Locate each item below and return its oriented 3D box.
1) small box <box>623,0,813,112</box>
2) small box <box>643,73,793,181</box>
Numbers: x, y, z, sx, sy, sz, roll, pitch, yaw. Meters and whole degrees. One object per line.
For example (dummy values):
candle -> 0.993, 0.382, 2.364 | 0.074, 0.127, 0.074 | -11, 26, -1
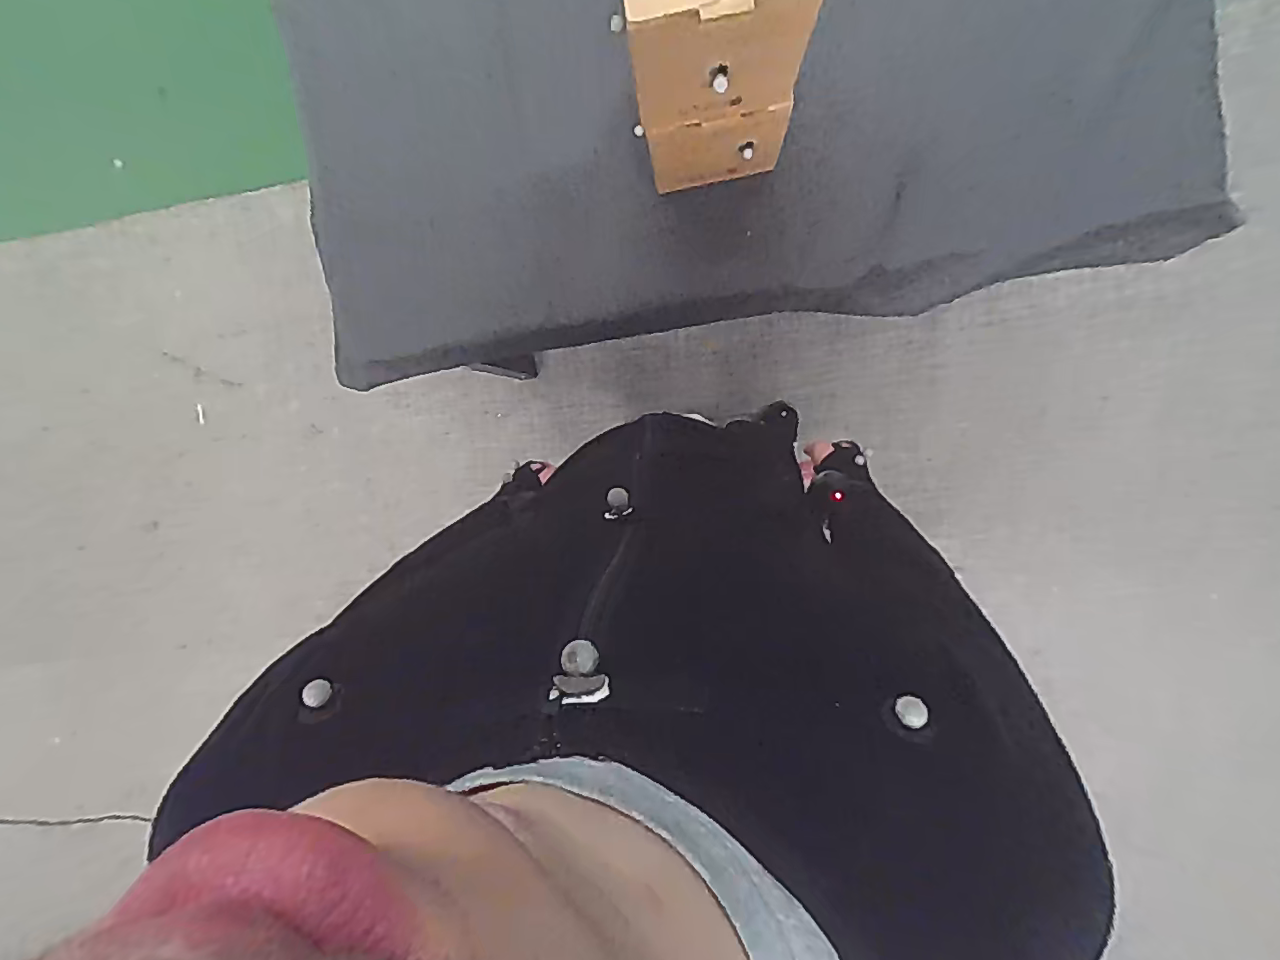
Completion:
small box -> 0.065, -0.481, 0.507 | 0.168, 0.176, 0.179 | -8, 98, 5
small box -> 0.083, -0.497, 0.669 | 0.168, 0.176, 0.179 | -9, 95, 6
